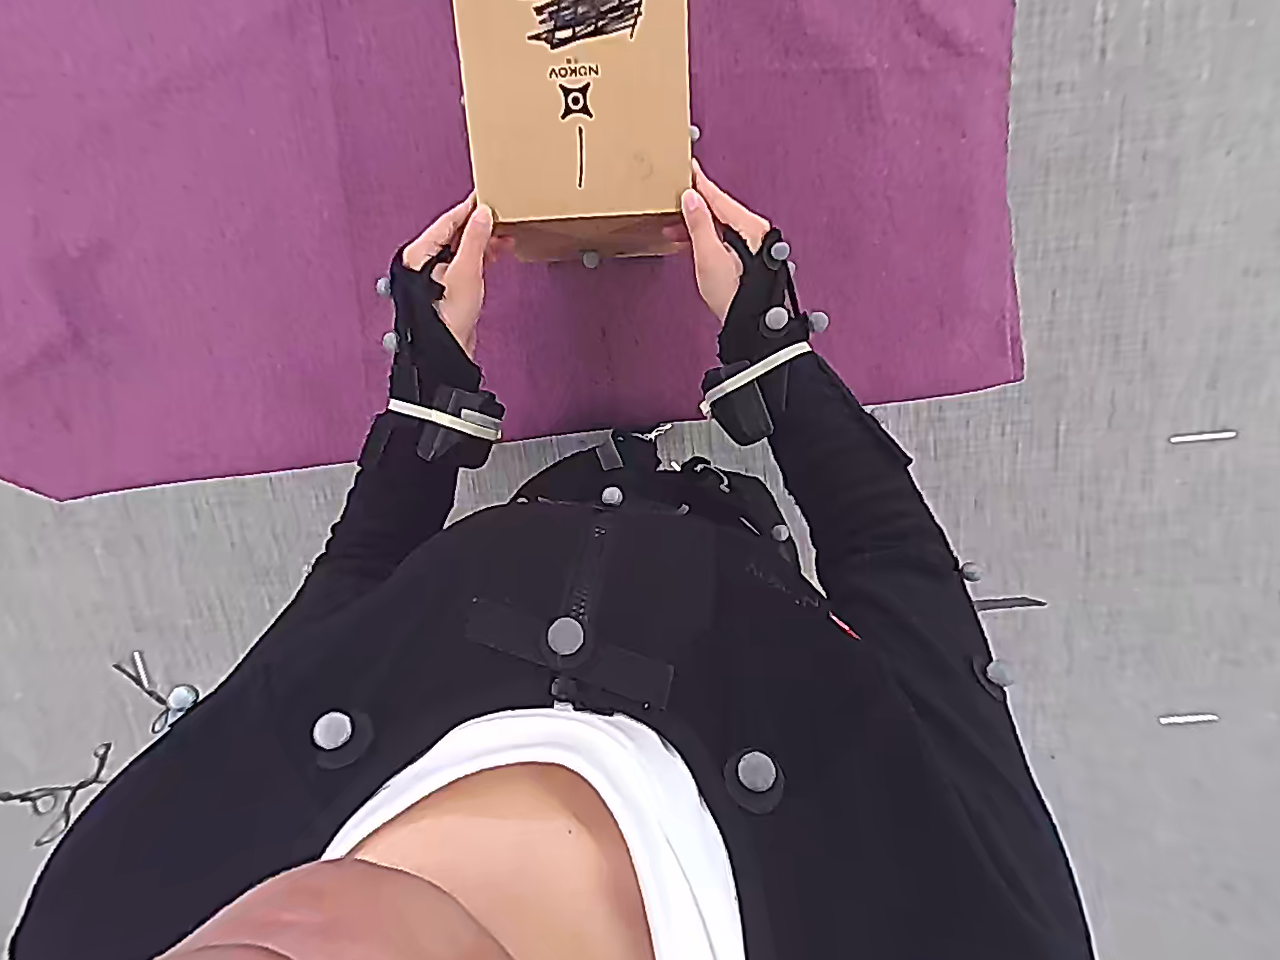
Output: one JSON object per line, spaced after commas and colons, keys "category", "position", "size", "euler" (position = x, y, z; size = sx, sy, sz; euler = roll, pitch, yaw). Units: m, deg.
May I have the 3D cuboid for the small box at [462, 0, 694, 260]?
{"category": "small box", "position": [-0.045, -0.304, 0.473], "size": [0.168, 0.176, 0.179], "euler": [-3, 102, 0]}
